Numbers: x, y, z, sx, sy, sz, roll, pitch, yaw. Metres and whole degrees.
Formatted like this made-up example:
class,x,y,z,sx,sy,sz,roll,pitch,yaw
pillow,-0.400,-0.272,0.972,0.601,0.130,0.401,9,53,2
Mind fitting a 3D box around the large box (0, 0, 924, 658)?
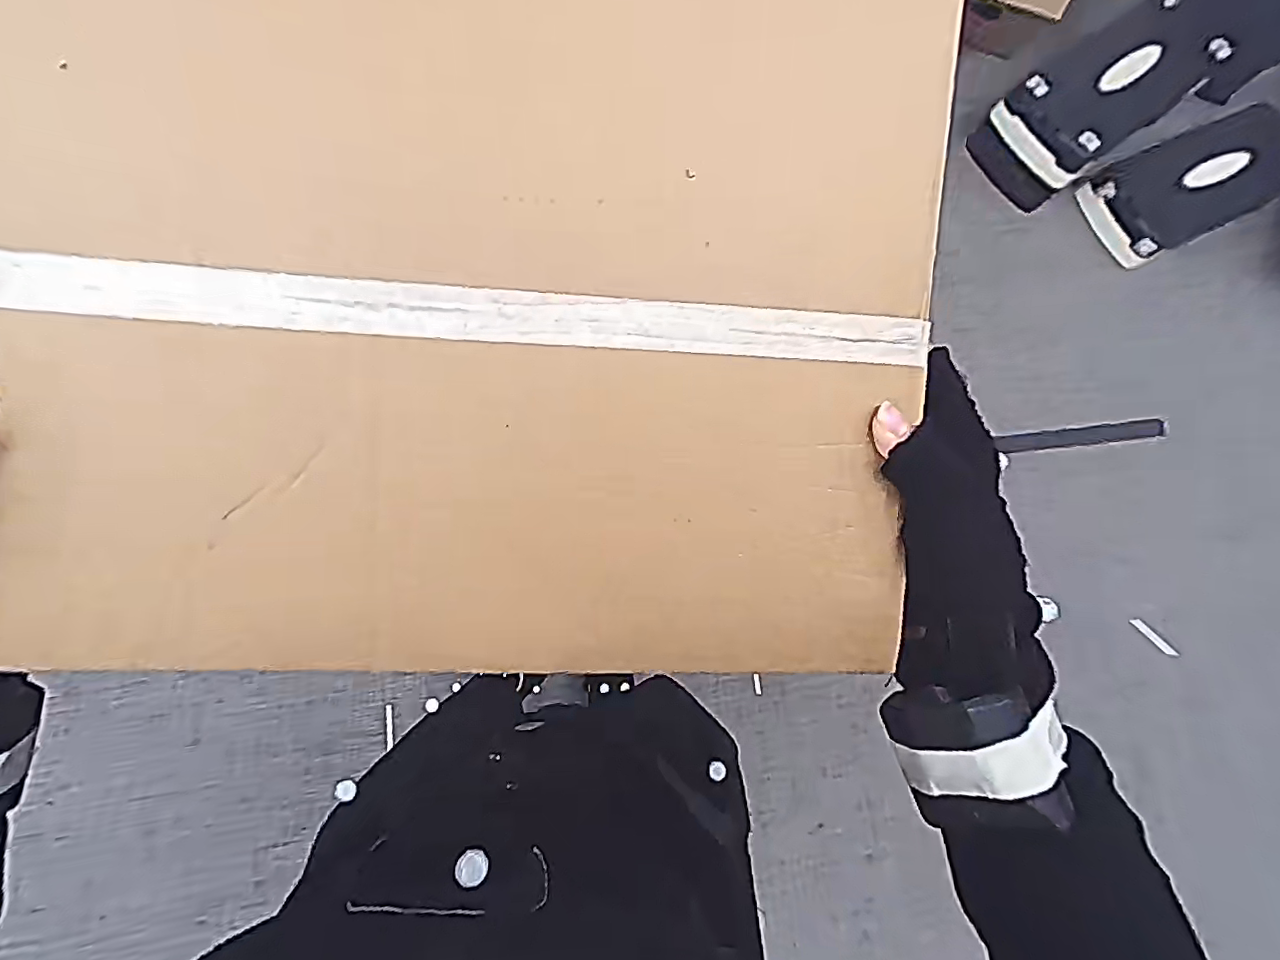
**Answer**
class,x,y,z,sx,sy,sz,roll,pitch,yaw
large box,-0.087,-0.086,0.386,0.408,0.320,0.320,2,95,-7
